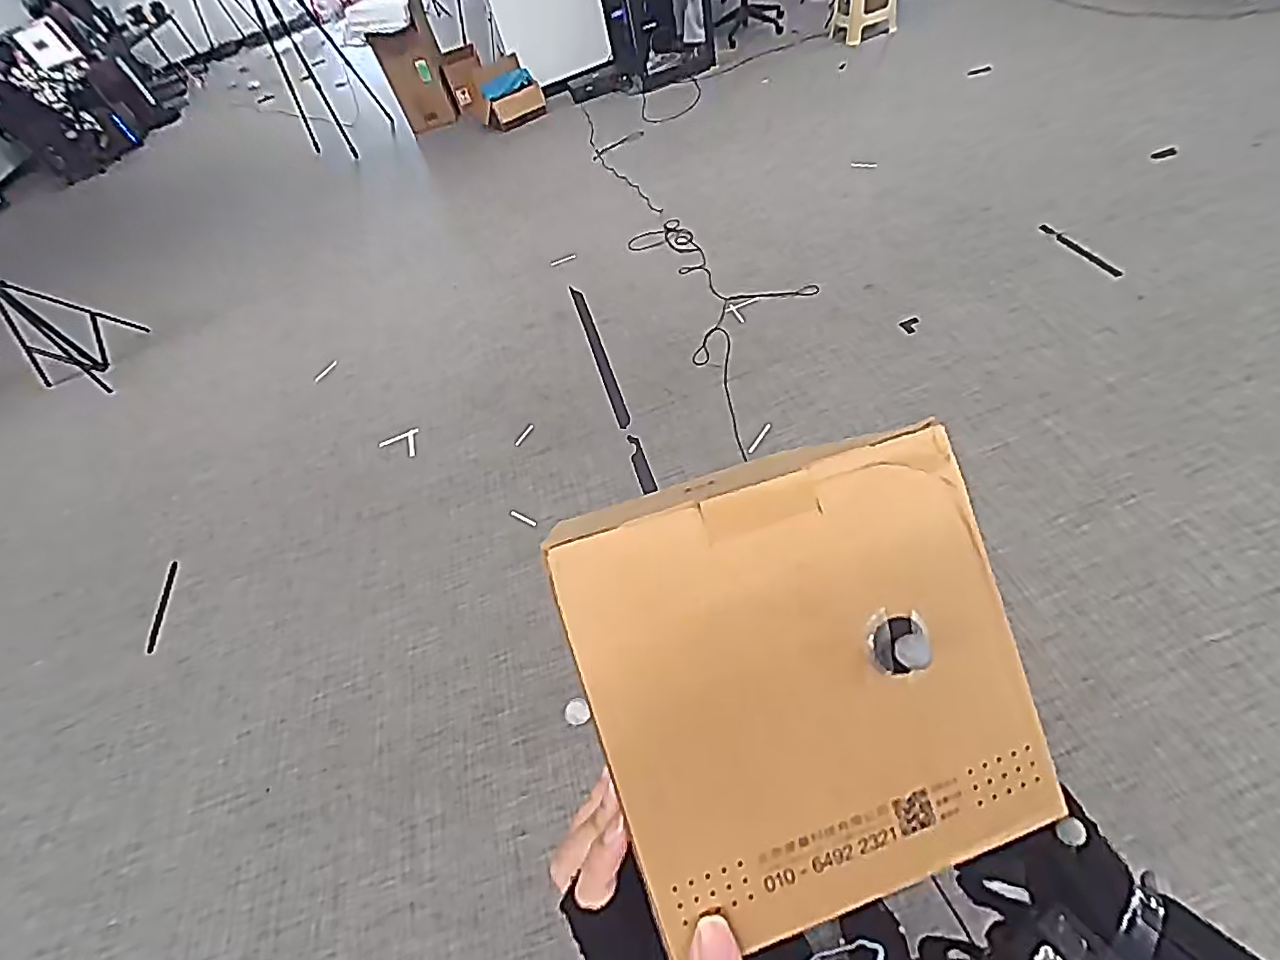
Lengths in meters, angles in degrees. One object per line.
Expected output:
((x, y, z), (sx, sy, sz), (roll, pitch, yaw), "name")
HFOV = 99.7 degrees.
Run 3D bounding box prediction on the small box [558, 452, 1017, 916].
((0.061, 0.093, 0.304), (0.168, 0.179, 0.176), (-18, 90, -5), "small box")
